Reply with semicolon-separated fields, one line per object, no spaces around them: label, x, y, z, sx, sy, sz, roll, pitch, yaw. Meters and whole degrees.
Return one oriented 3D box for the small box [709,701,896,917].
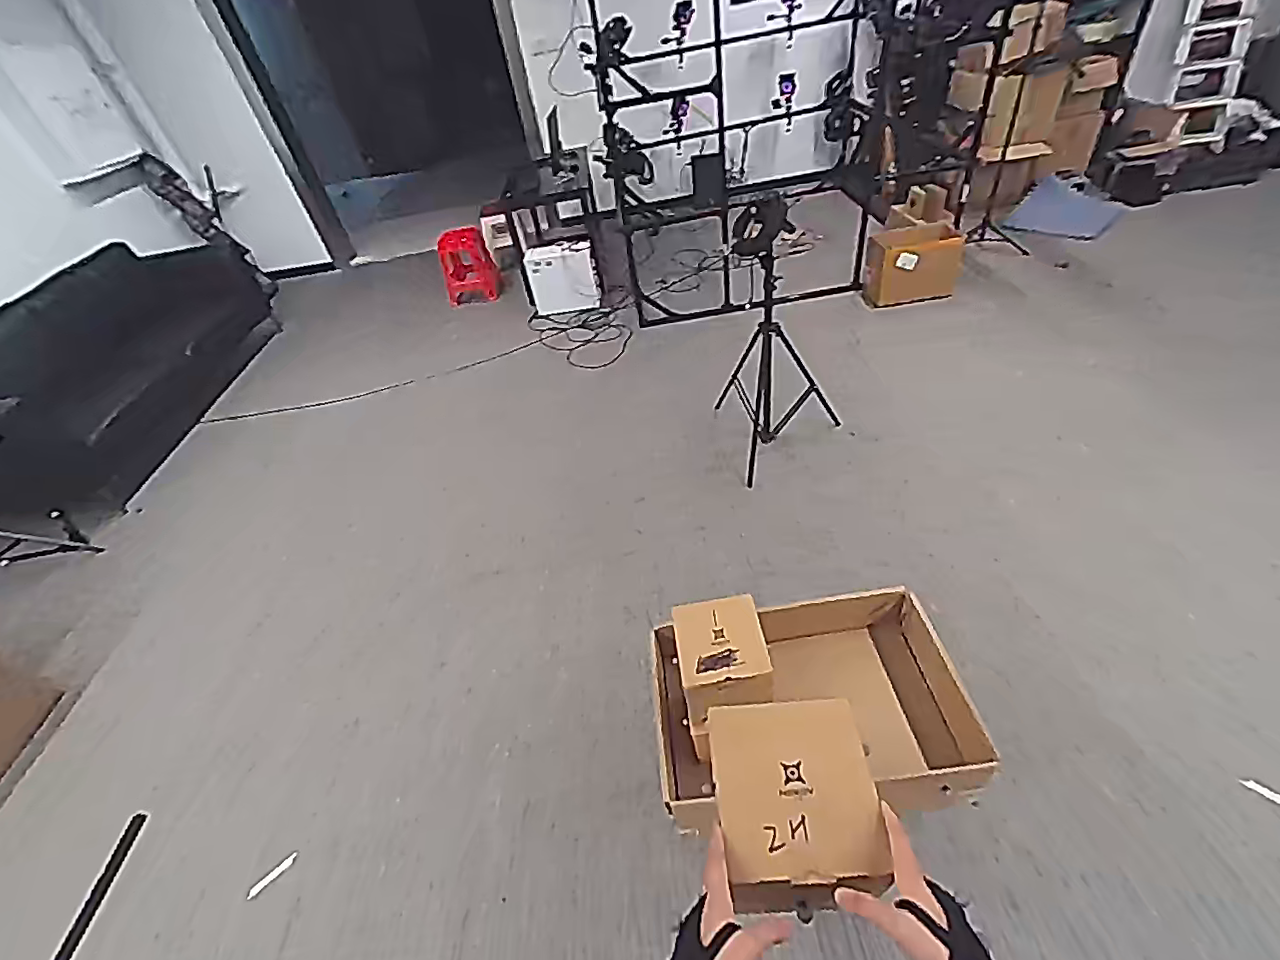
small box;0.169;0.382;0.629;0.168;0.176;0.179;-6;44;4

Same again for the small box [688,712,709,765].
small box;0.187;0.487;1.172;0.168;0.176;0.179;-11;42;3

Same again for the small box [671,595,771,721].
small box;0.161;0.359;1.072;0.168;0.176;0.179;-10;41;3
